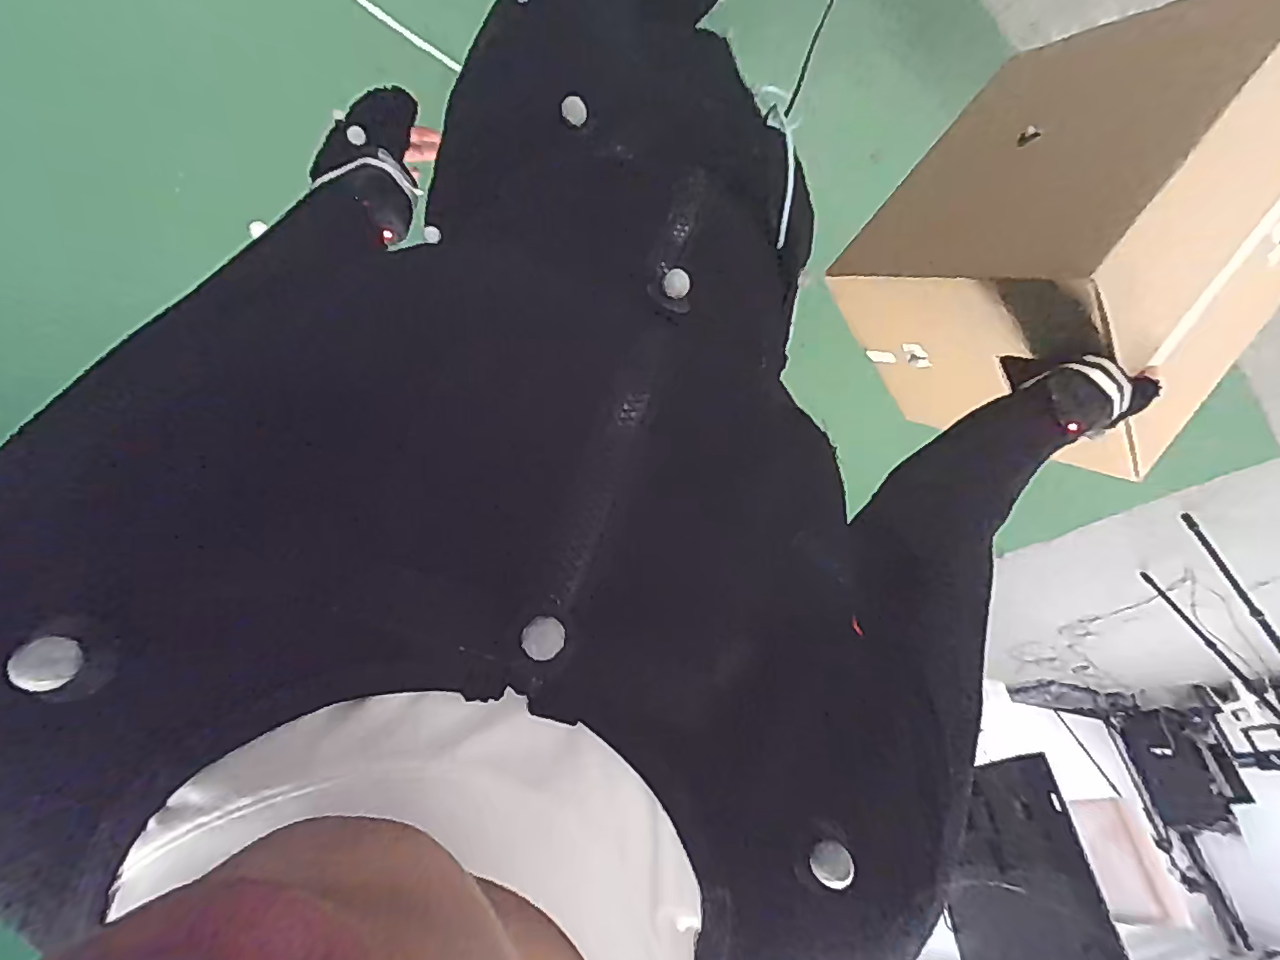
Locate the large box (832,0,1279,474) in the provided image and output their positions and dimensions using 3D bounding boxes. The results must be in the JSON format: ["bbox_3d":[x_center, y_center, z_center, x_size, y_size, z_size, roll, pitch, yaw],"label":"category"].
[{"bbox_3d":[0.531,-0.285,0.679,0.408,0.320,0.320,-50,124,-3],"label":"large box"}]
